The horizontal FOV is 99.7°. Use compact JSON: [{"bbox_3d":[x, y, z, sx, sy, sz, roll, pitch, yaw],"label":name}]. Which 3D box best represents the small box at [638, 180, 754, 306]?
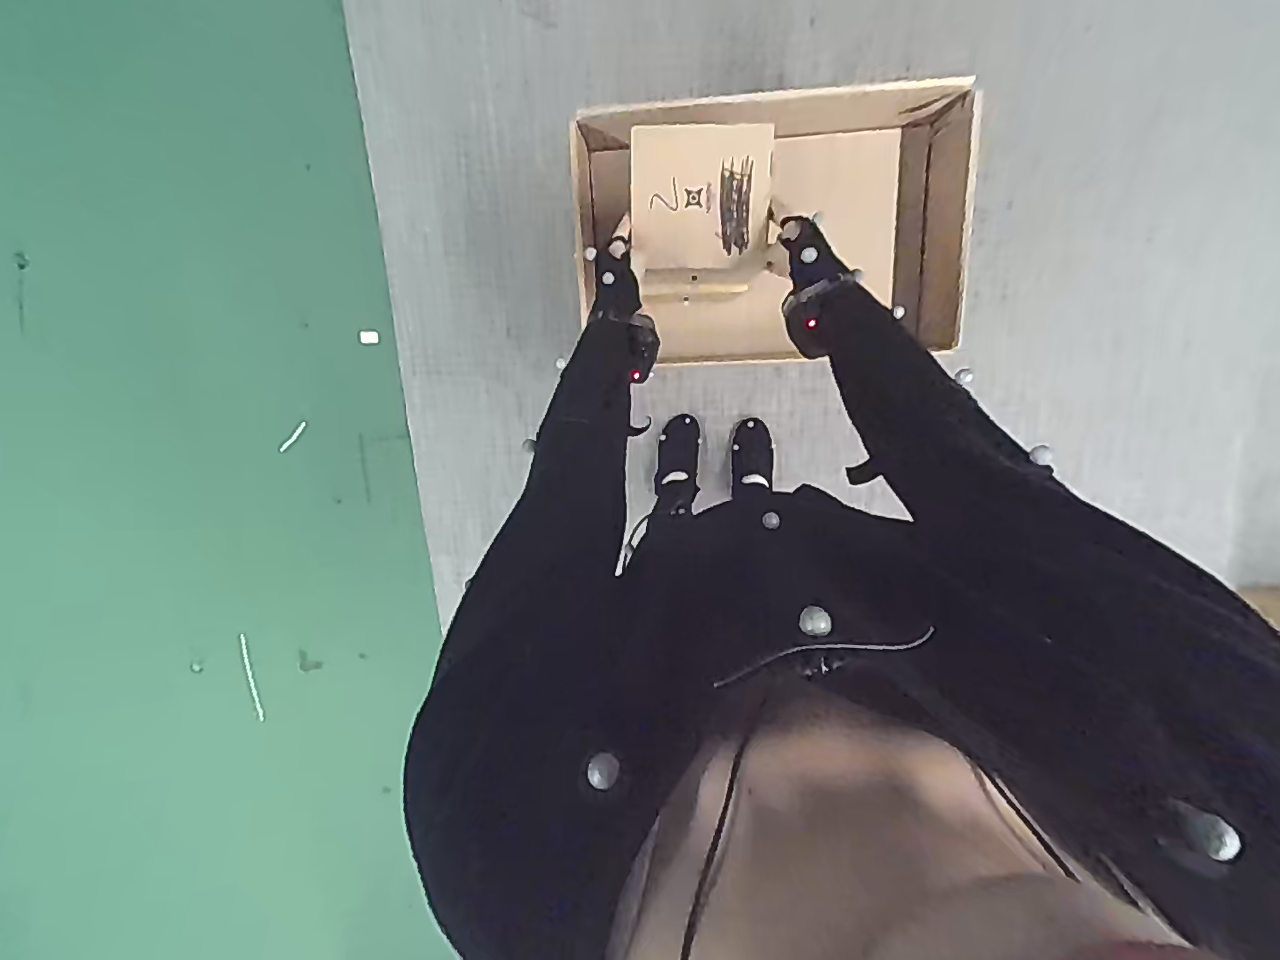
[{"bbox_3d":[0.088,-0.387,0.905,0.179,0.176,0.168,-1,102,4],"label":"small box"}]
